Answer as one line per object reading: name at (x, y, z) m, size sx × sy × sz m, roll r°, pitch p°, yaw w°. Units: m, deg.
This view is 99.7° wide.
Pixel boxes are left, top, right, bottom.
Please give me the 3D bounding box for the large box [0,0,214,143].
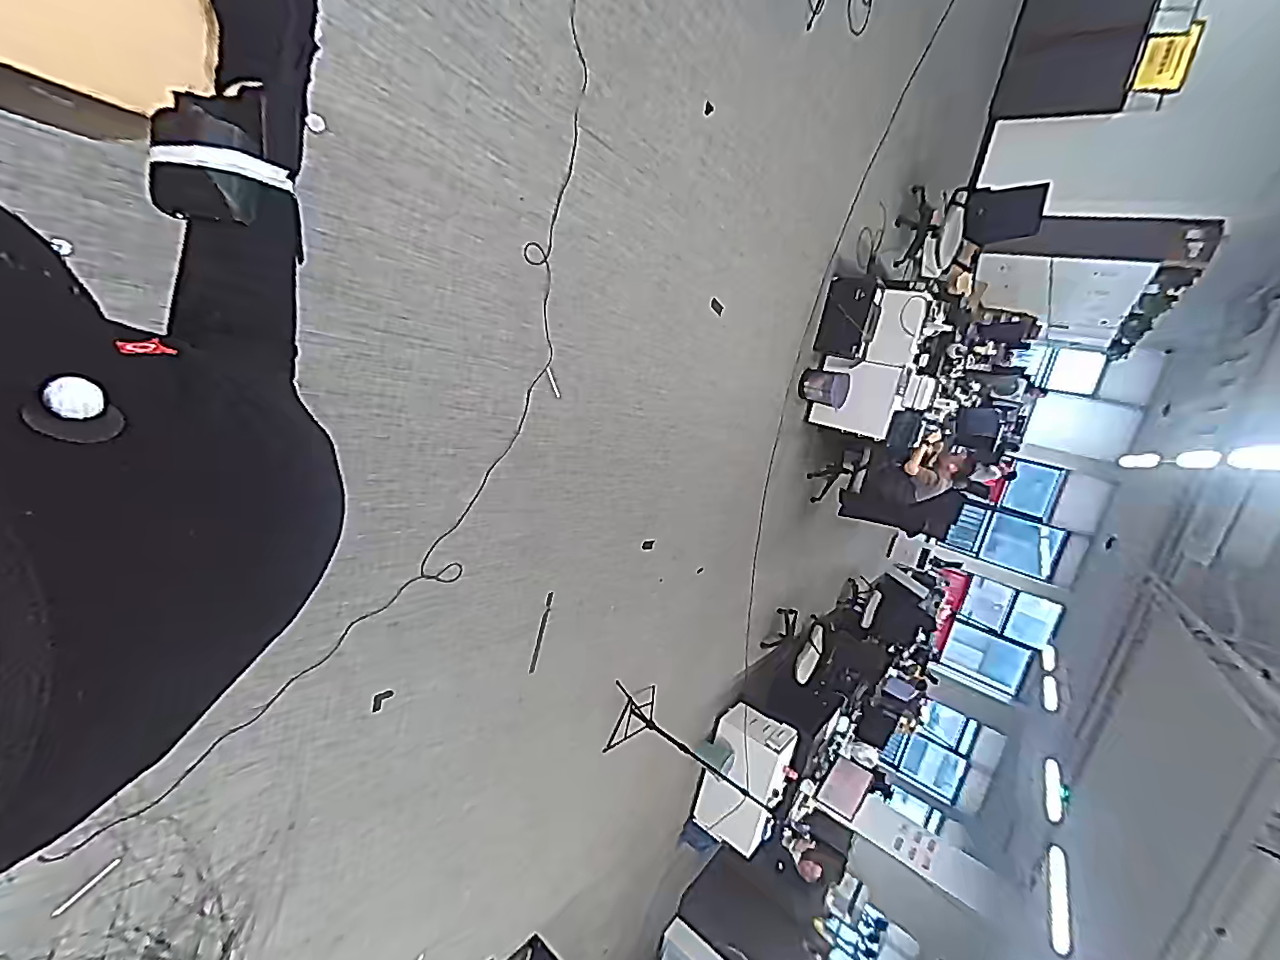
large box at (-0.514, -0.421, 0.276) m, size 0.408 × 0.320 × 0.320 m, roll -7°, pitch 116°, yaw -55°
